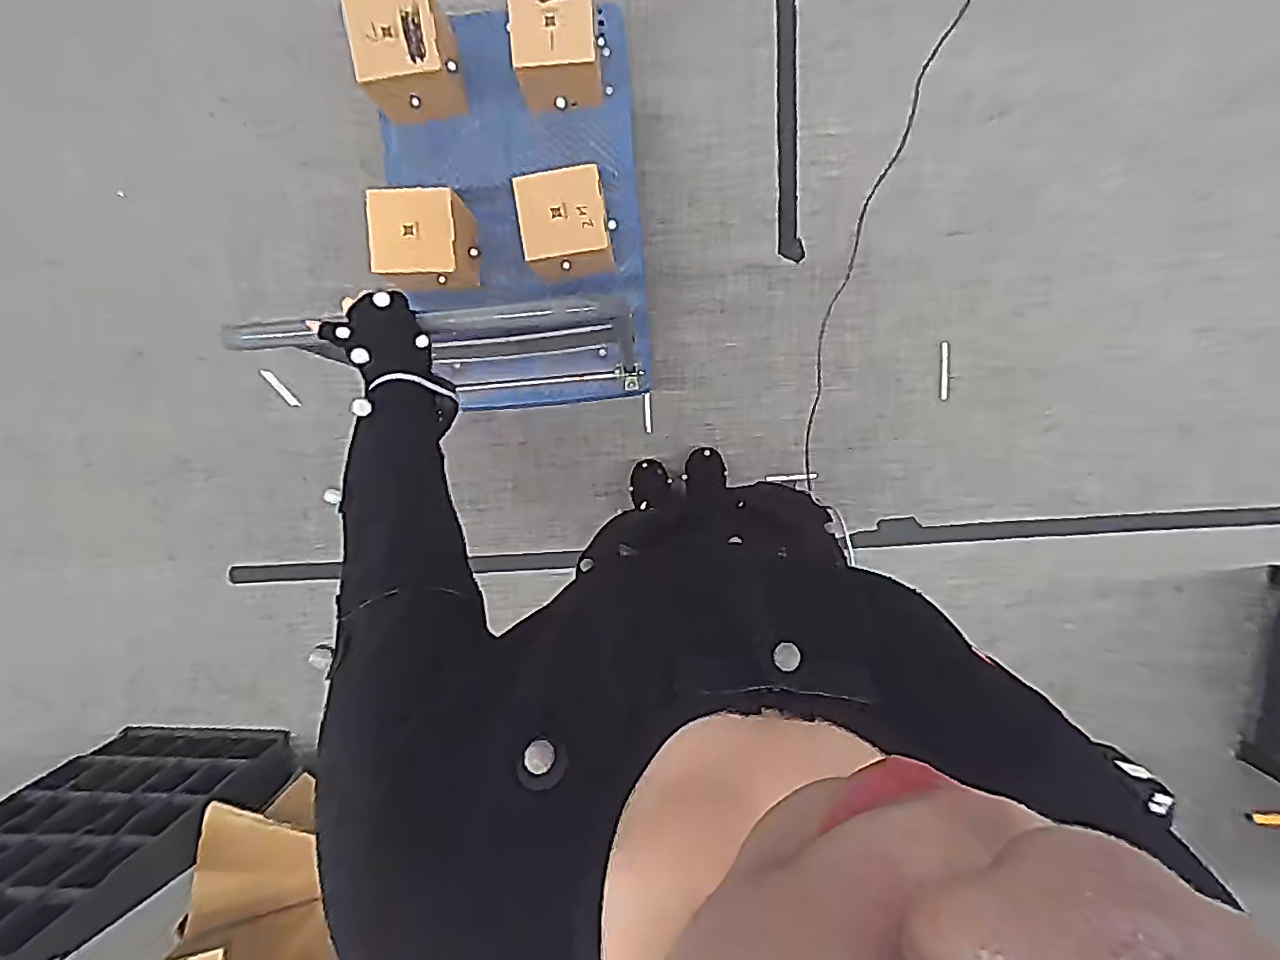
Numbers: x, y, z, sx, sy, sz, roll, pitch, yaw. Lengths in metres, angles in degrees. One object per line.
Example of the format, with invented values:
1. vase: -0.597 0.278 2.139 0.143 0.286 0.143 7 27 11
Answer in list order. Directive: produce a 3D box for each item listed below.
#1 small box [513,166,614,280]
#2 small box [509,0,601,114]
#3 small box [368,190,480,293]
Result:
1. small box: -0.158 -0.546 1.173 0.179 0.176 0.168 -8 97 2
2. small box: -0.172 -0.908 1.131 0.168 0.176 0.179 -3 98 2
3. small box: -0.465 -0.513 1.184 0.179 0.176 0.168 -2 96 0
